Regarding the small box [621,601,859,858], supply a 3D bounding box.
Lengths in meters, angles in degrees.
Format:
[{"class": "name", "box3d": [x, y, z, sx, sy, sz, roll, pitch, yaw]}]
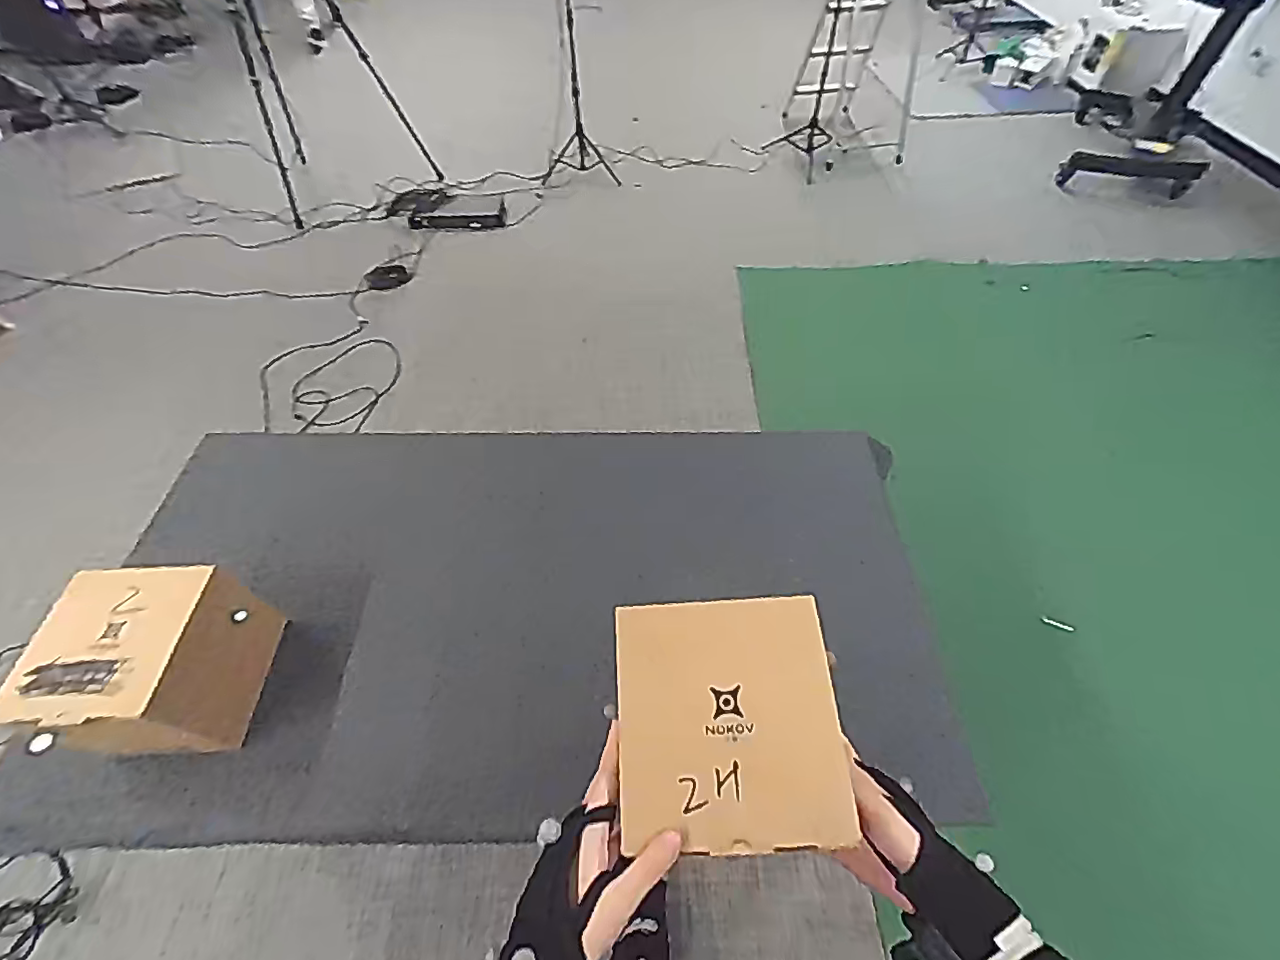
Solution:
[{"class": "small box", "box3d": [0.074, 0.221, 0.484, 0.168, 0.176, 0.179, -6, 62, 4]}]
